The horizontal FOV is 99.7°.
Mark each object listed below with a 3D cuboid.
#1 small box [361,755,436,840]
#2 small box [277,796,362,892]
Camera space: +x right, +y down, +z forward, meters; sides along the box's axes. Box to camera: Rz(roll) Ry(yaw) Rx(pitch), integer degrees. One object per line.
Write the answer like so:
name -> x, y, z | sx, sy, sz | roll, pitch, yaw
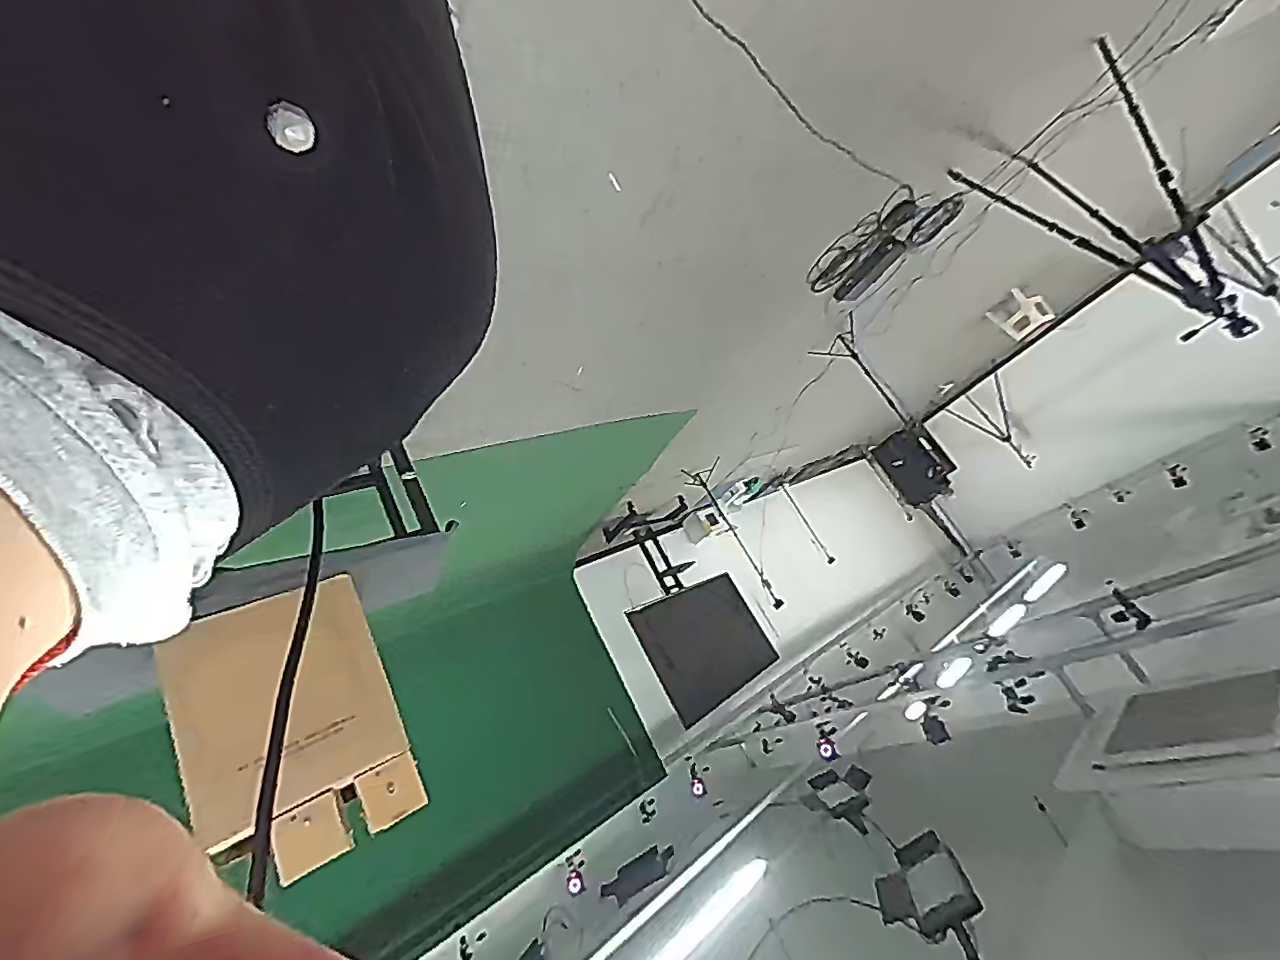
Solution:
small box -> -0.762, 0.993, 1.698 | 0.168, 0.176, 0.179 | -19, 159, -36
small box -> -0.924, 1.046, 1.567 | 0.168, 0.176, 0.179 | -20, 158, -31
